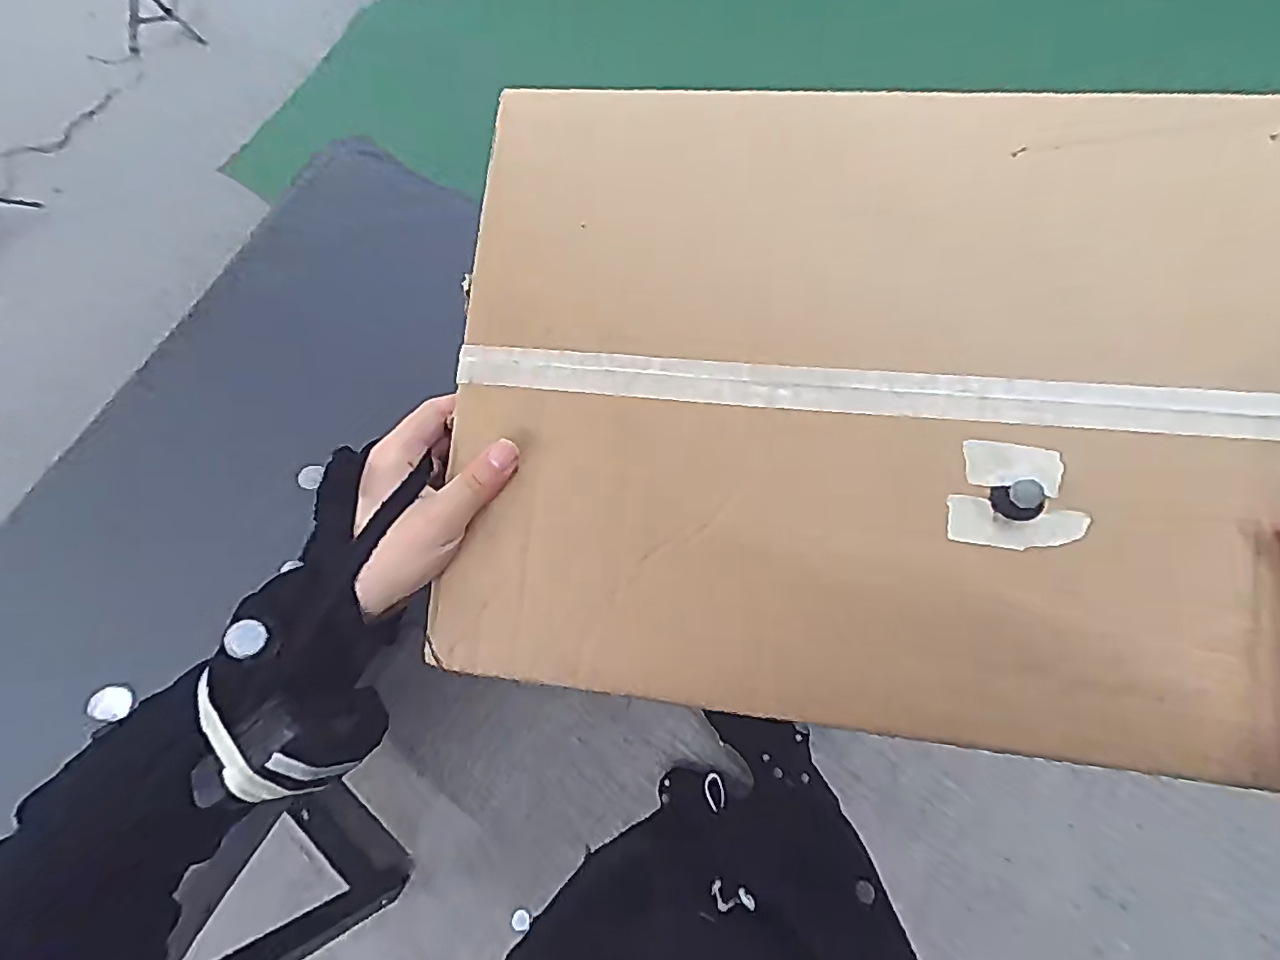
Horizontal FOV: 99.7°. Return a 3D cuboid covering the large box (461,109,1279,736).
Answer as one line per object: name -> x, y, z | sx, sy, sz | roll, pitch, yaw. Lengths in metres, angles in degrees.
large box -> 0.128, -0.032, 0.425 | 0.408, 0.320, 0.320 | 6, 84, 6
